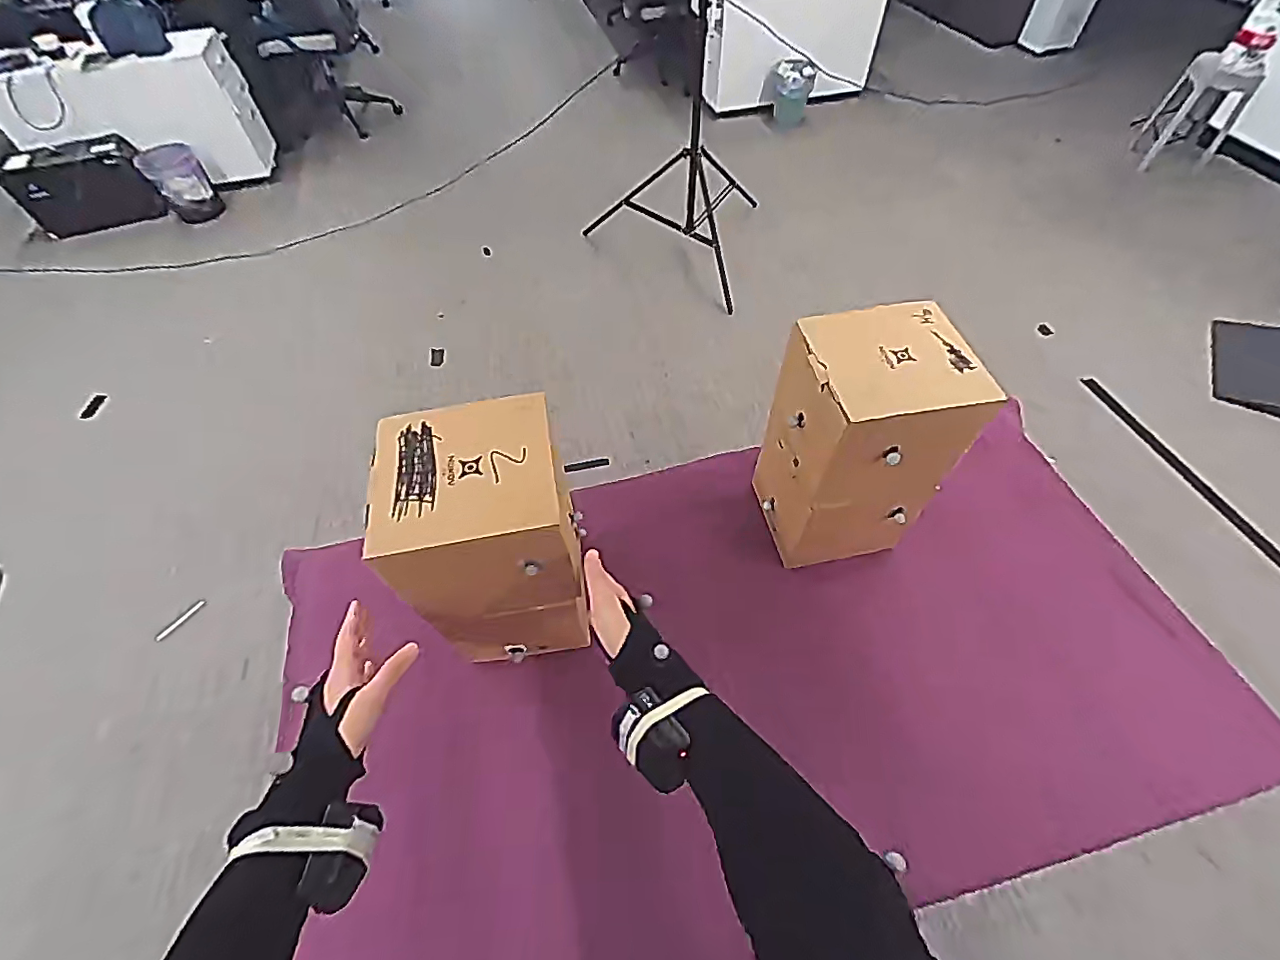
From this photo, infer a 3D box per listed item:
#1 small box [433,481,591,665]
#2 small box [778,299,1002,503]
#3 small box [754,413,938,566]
[{"bbox_3d":[-0.161,0.127,0.720,0.168,0.176,0.179,-9,57,-3],"label":"small box"},{"bbox_3d":[0.277,-0.089,0.655,0.179,0.176,0.168,-10,56,-4],"label":"small box"},{"bbox_3d":[0.283,0.006,0.789,0.179,0.176,0.168,-10,55,-5],"label":"small box"}]
